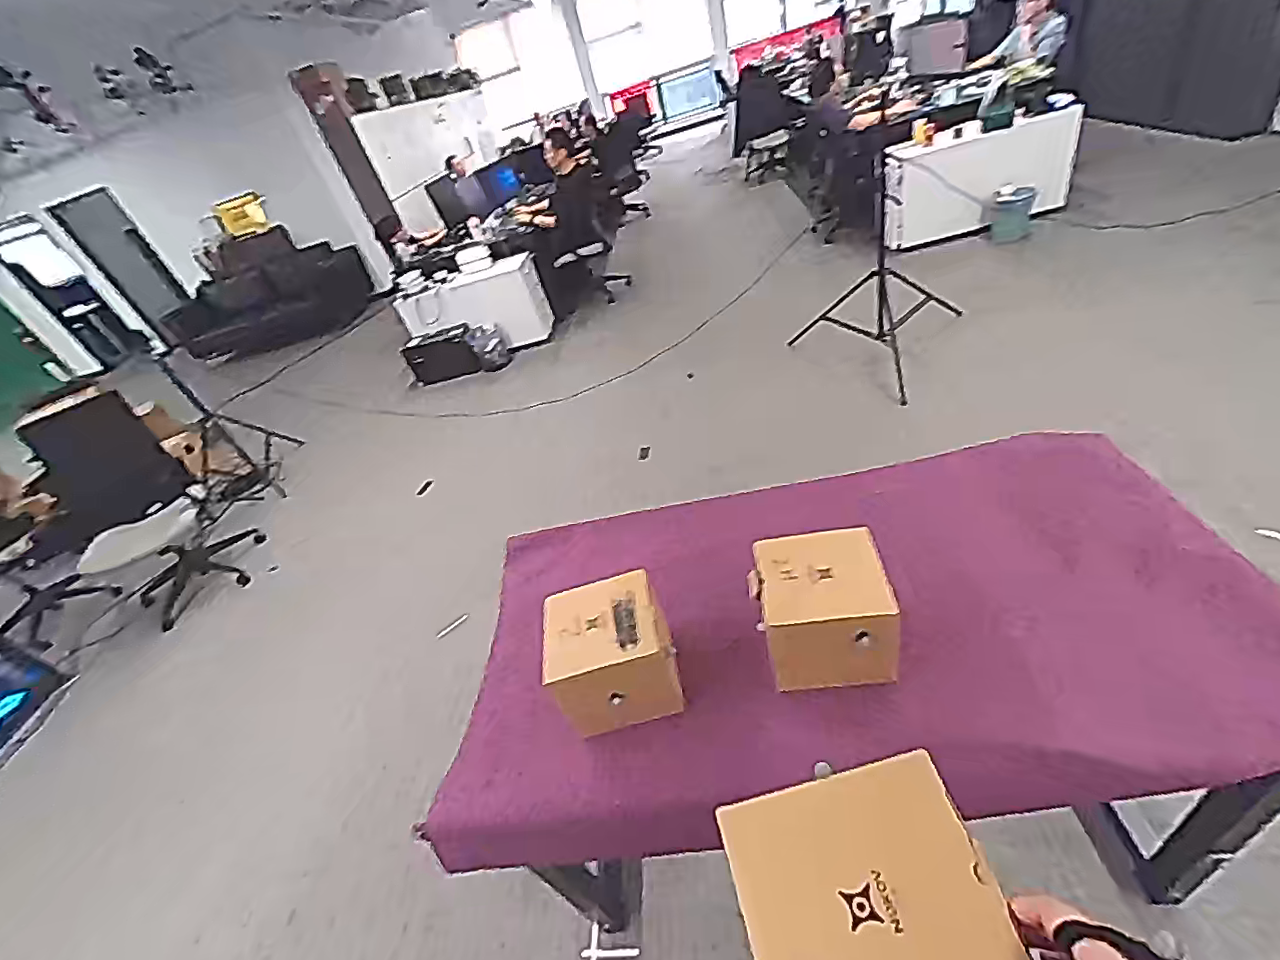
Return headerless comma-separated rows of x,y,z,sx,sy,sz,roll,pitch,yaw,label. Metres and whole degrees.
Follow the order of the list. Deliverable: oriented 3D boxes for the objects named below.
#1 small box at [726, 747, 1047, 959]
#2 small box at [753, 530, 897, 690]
0.185,0.344,0.435,0.179,0.176,0.168,-18,48,3,small box
0.280,0.203,0.834,0.179,0.176,0.168,-10,36,12,small box
